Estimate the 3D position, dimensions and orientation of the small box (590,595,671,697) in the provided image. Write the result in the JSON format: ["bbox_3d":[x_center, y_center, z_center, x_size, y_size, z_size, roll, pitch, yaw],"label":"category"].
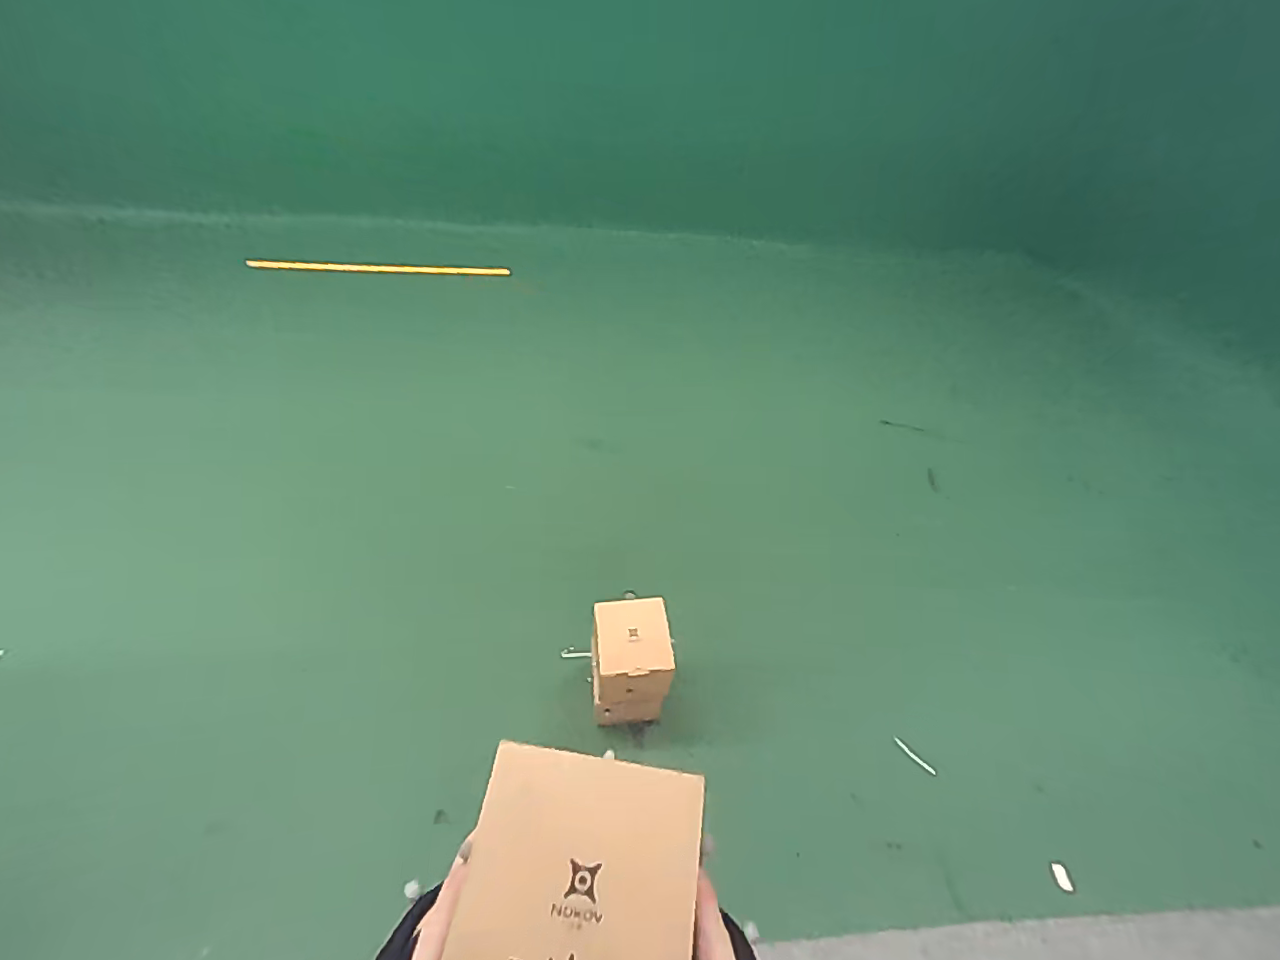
[{"bbox_3d":[-0.030,0.394,1.282,0.168,0.176,0.179,-3,51,-9],"label":"small box"}]

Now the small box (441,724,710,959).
[{"bbox_3d":[-0.045,0.323,0.447,0.168,0.176,0.179,10,57,2],"label":"small box"}]
